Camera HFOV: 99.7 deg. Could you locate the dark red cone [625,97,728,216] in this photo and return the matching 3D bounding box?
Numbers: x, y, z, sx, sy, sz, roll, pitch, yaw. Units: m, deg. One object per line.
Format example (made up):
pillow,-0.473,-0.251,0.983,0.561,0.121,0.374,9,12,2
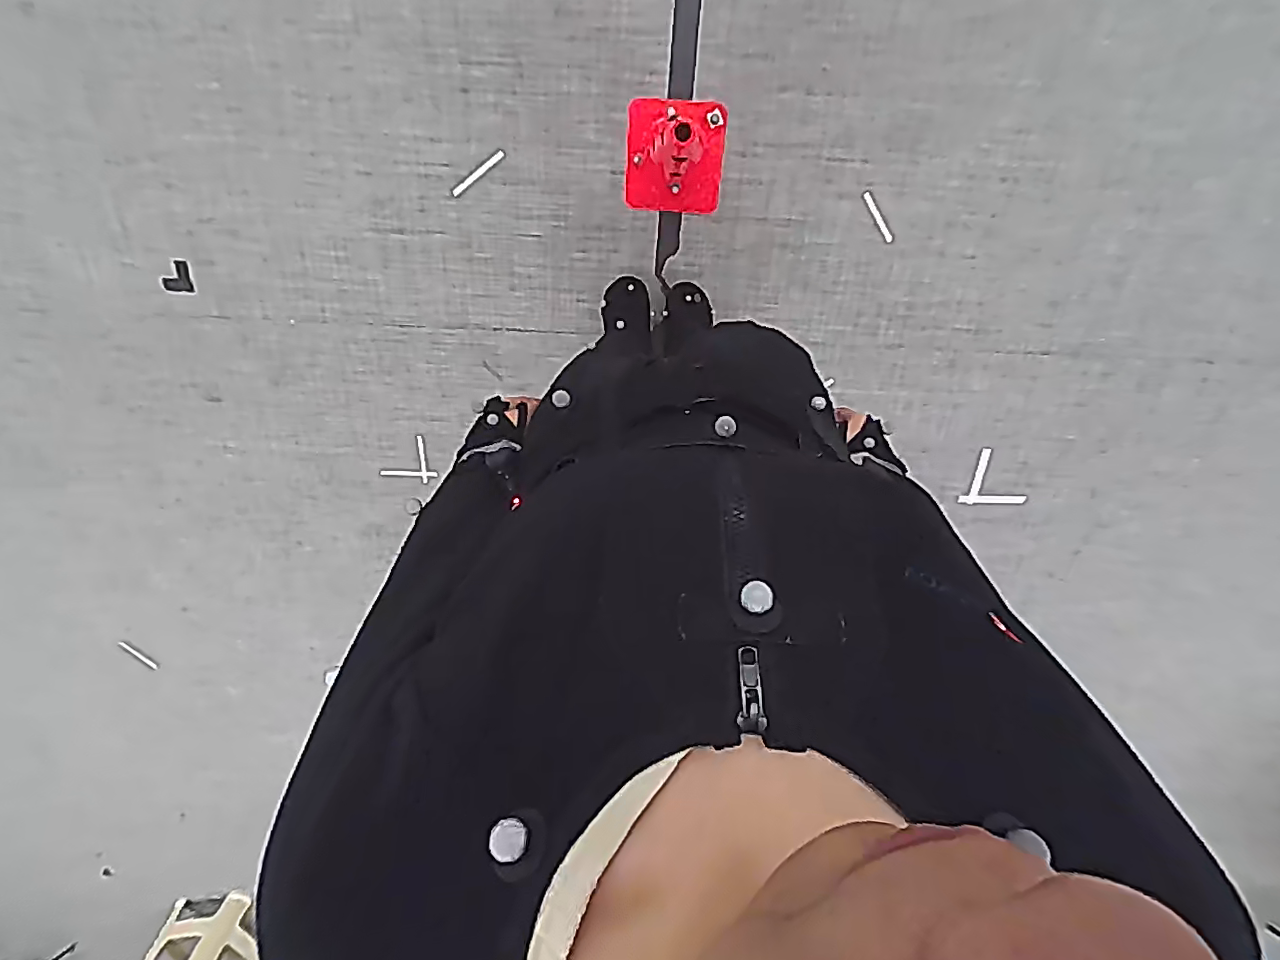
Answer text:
dark red cone,0.065,-0.578,0.943,0.201,0.394,0.202,3,116,1
